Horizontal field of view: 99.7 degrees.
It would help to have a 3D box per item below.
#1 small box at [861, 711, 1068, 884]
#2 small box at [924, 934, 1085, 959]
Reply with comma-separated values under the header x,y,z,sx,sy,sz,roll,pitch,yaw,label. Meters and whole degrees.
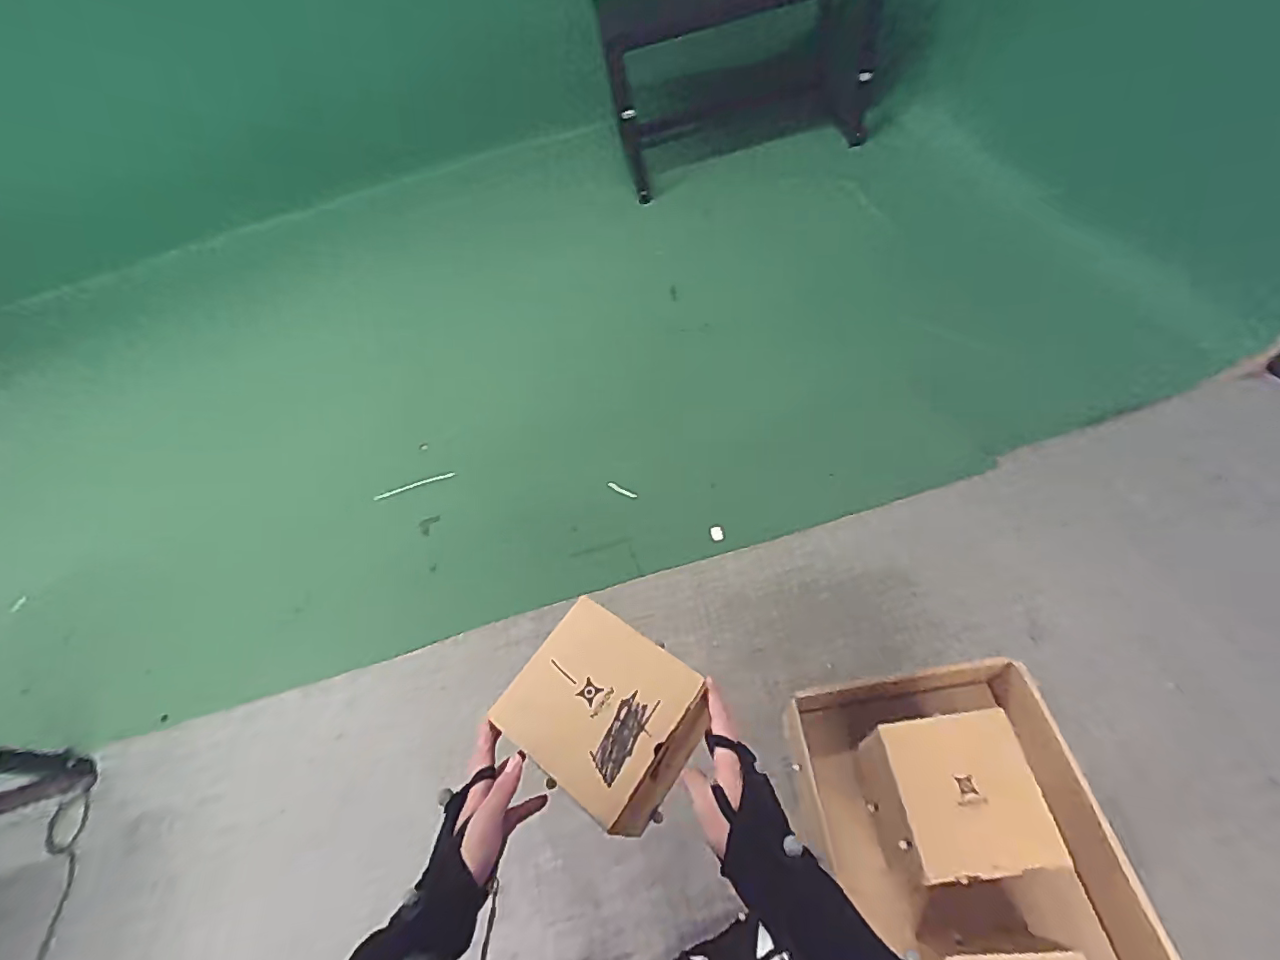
x,y,z,sx,sy,sz,roll,pitch,yaw,label
0.420,0.433,0.742,0.168,0.176,0.179,-11,57,6,small box
0.502,0.730,0.725,0.179,0.176,0.168,-9,57,8,small box
